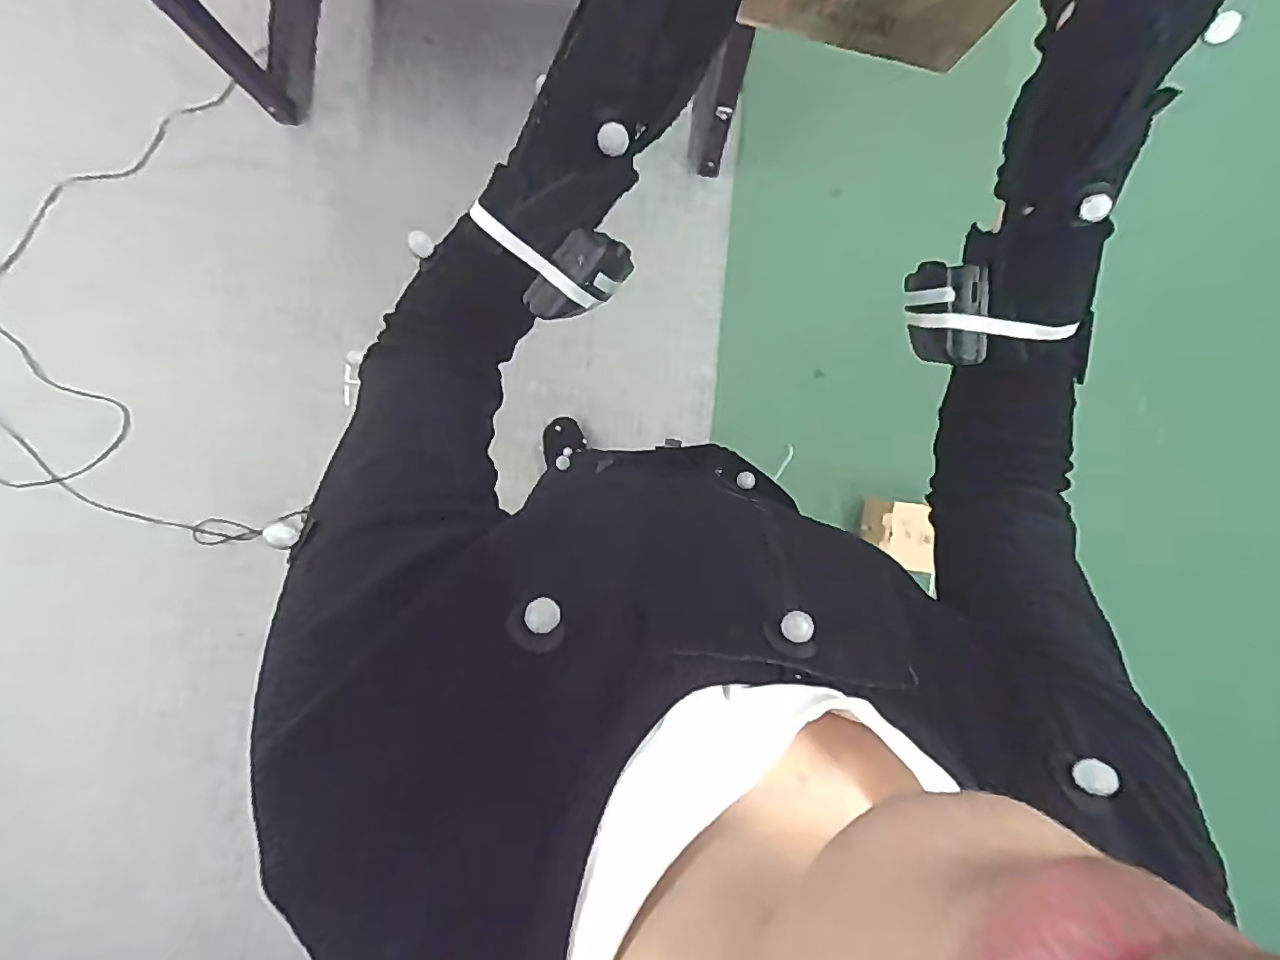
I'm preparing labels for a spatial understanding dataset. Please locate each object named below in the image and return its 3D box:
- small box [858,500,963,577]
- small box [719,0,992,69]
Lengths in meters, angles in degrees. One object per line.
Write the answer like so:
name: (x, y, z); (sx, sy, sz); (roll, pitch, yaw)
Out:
small box: (0.698, 0.145, 1.409); (0.179, 0.176, 0.168); (8, 92, -1)
small box: (0.142, -0.372, 0.280); (0.168, 0.176, 0.179); (8, 93, -7)
